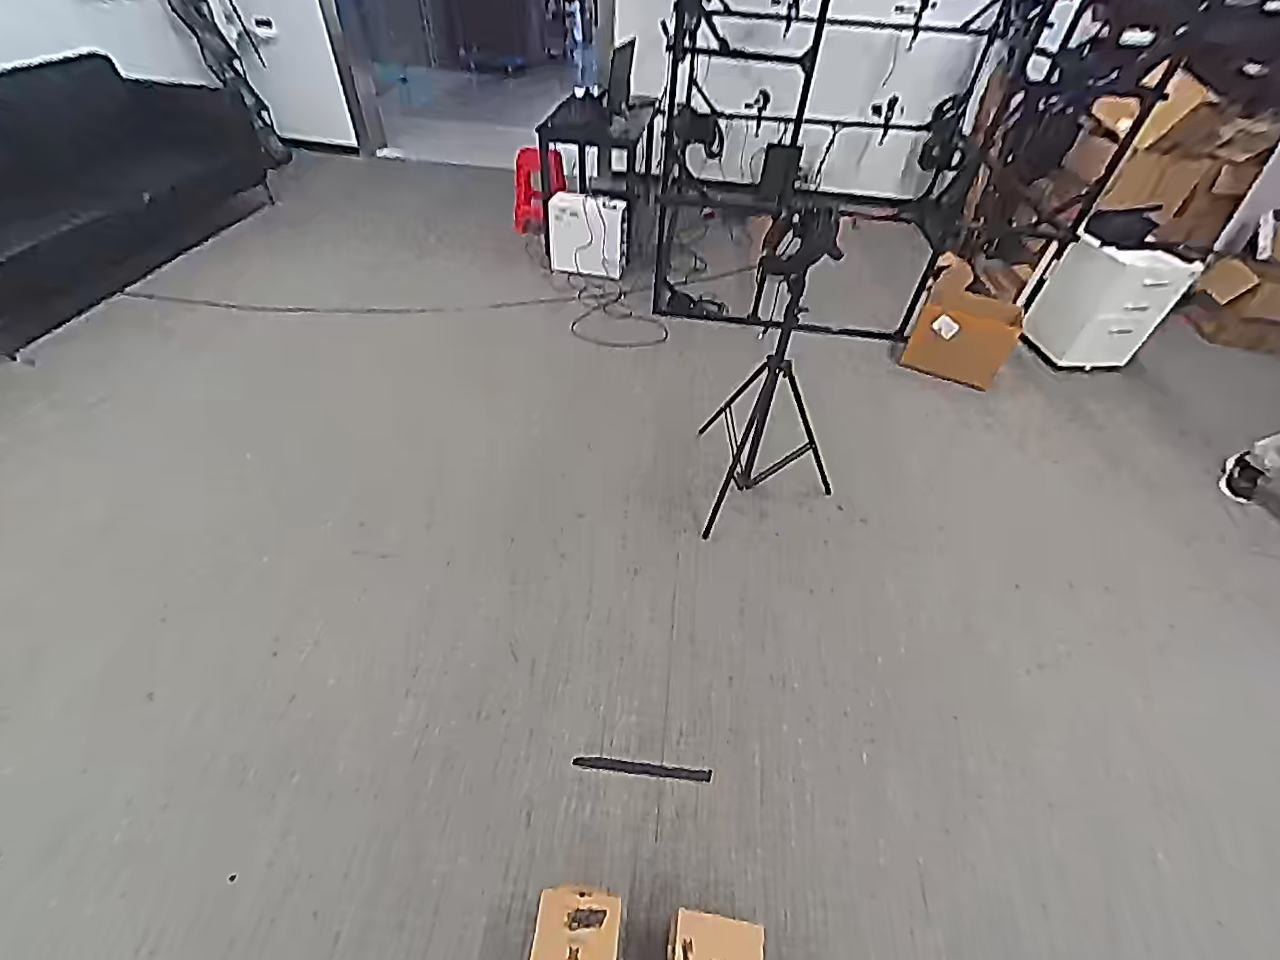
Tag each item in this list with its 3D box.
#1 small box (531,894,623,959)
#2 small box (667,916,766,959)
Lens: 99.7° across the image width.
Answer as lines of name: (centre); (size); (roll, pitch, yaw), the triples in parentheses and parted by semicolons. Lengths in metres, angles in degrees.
small box: (-0.129, 0.964, 1.086); (0.168, 0.176, 0.179); (6, 45, 2)
small box: (0.145, 0.998, 1.075); (0.179, 0.176, 0.168); (10, 45, 4)
